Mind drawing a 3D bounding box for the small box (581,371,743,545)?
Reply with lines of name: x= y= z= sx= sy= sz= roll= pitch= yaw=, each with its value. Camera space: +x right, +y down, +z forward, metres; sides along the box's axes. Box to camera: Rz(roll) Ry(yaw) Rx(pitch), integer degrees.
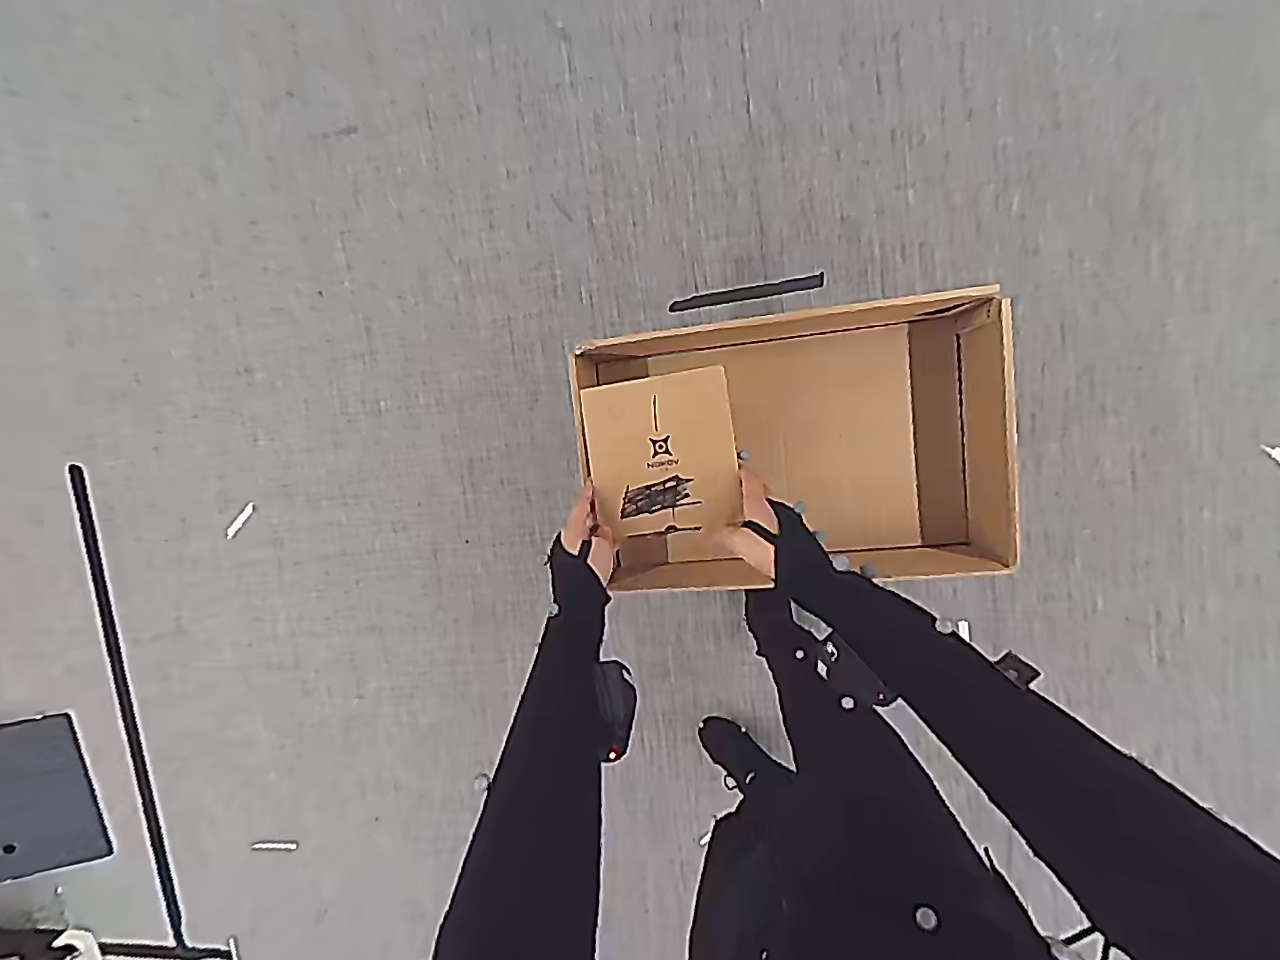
small box: x=0.037 y=-0.023 z=0.673 sx=0.168 sy=0.176 sz=0.179 roll=-8 pitch=88 yaw=10
